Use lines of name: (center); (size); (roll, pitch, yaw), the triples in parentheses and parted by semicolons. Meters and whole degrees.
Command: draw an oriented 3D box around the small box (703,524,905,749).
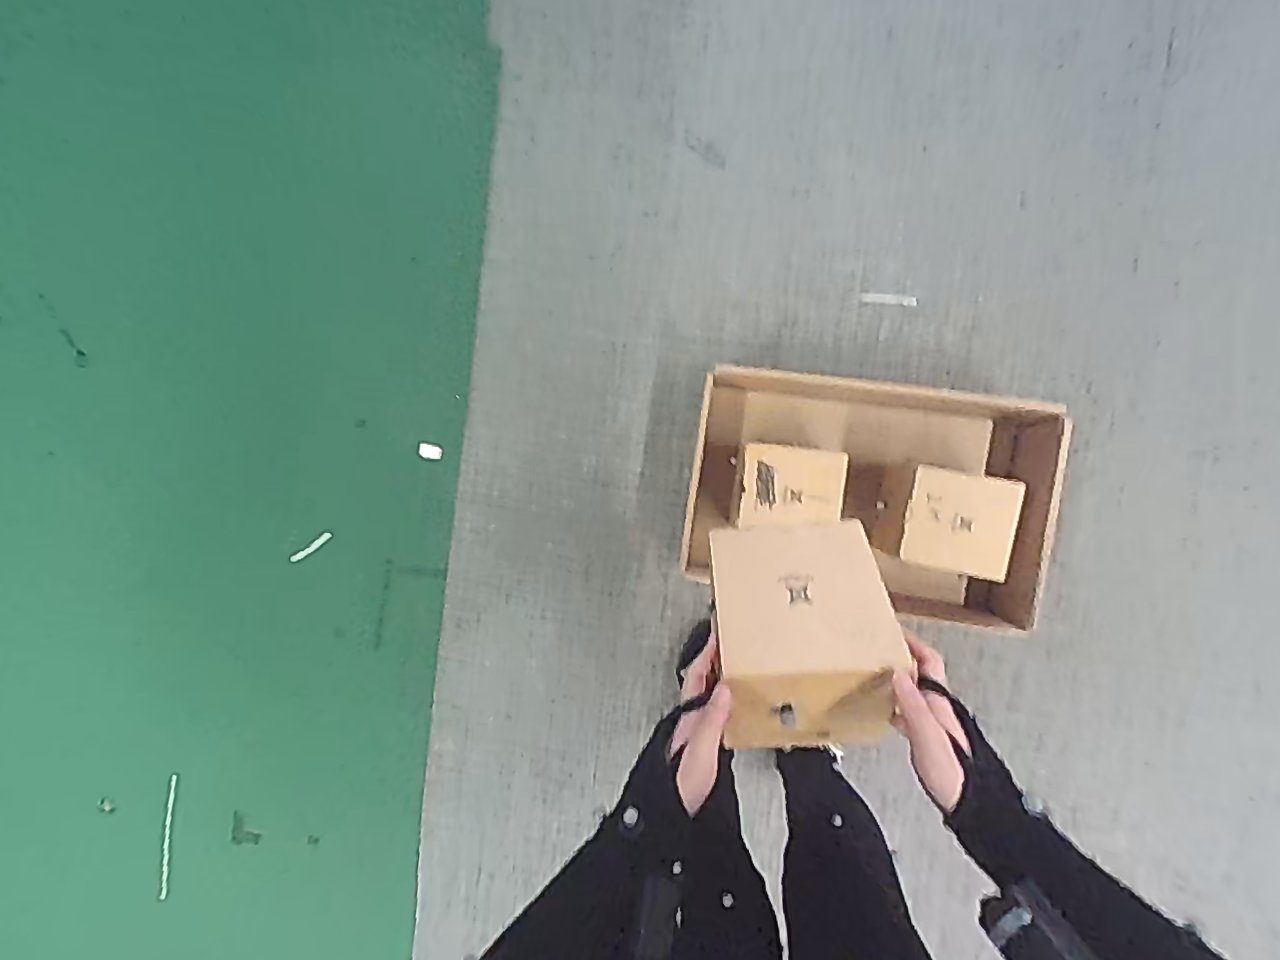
small box: (0.159, 0.171, 0.578); (0.168, 0.179, 0.176); (-5, 131, 6)

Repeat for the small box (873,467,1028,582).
small box: (0.549, 0.071, 0.980); (0.179, 0.176, 0.168); (12, 93, 8)
